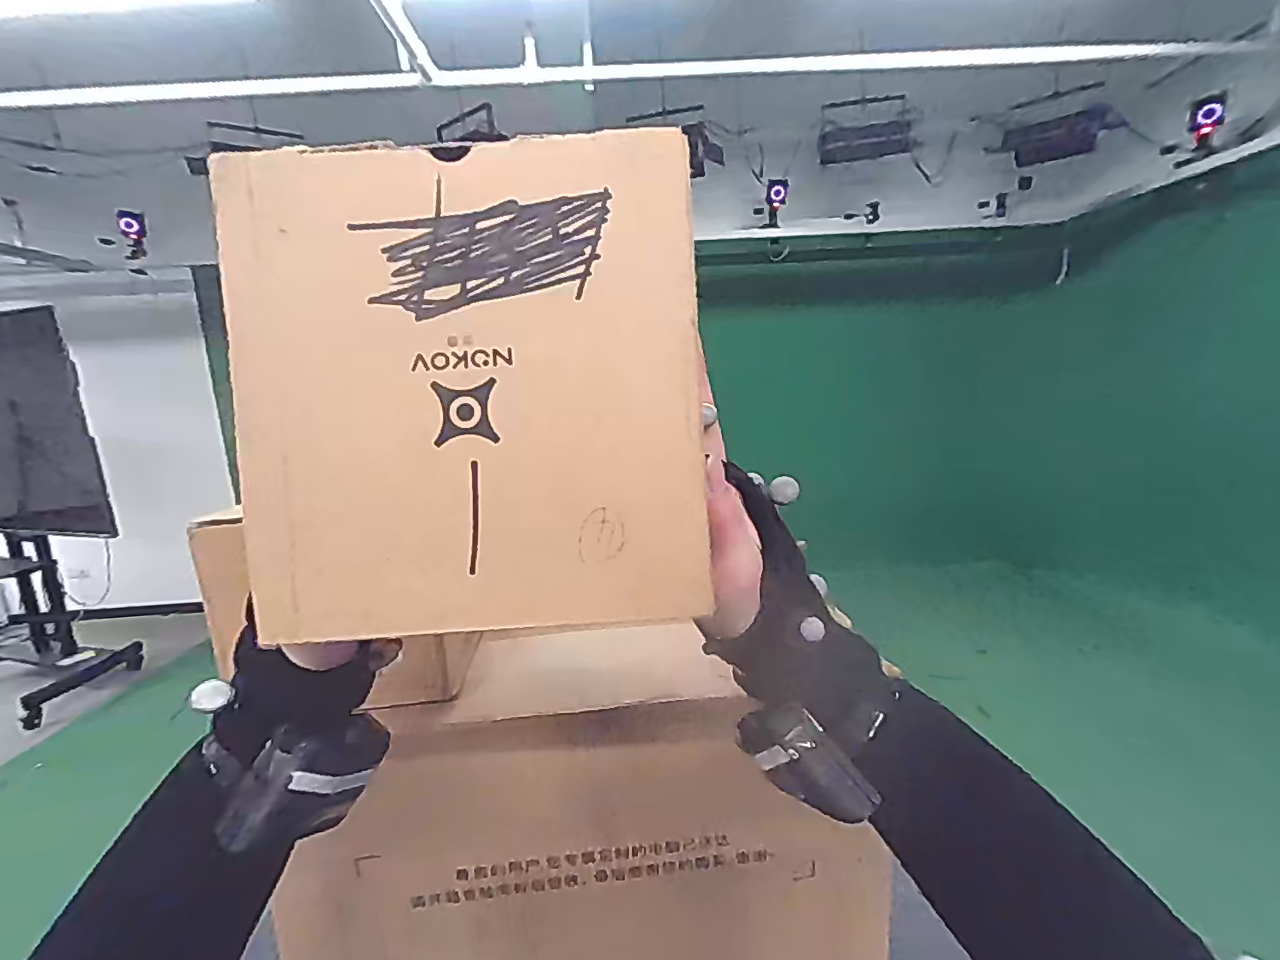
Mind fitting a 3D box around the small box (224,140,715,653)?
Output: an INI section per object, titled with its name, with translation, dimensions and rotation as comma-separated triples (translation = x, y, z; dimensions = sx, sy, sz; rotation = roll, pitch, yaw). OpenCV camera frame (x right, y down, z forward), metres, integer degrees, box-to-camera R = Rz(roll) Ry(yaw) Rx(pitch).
[small box]
translation = -0.060, -0.030, 0.270
dimensions = 0.168, 0.179, 0.176
rotation = -4, 1, 0
